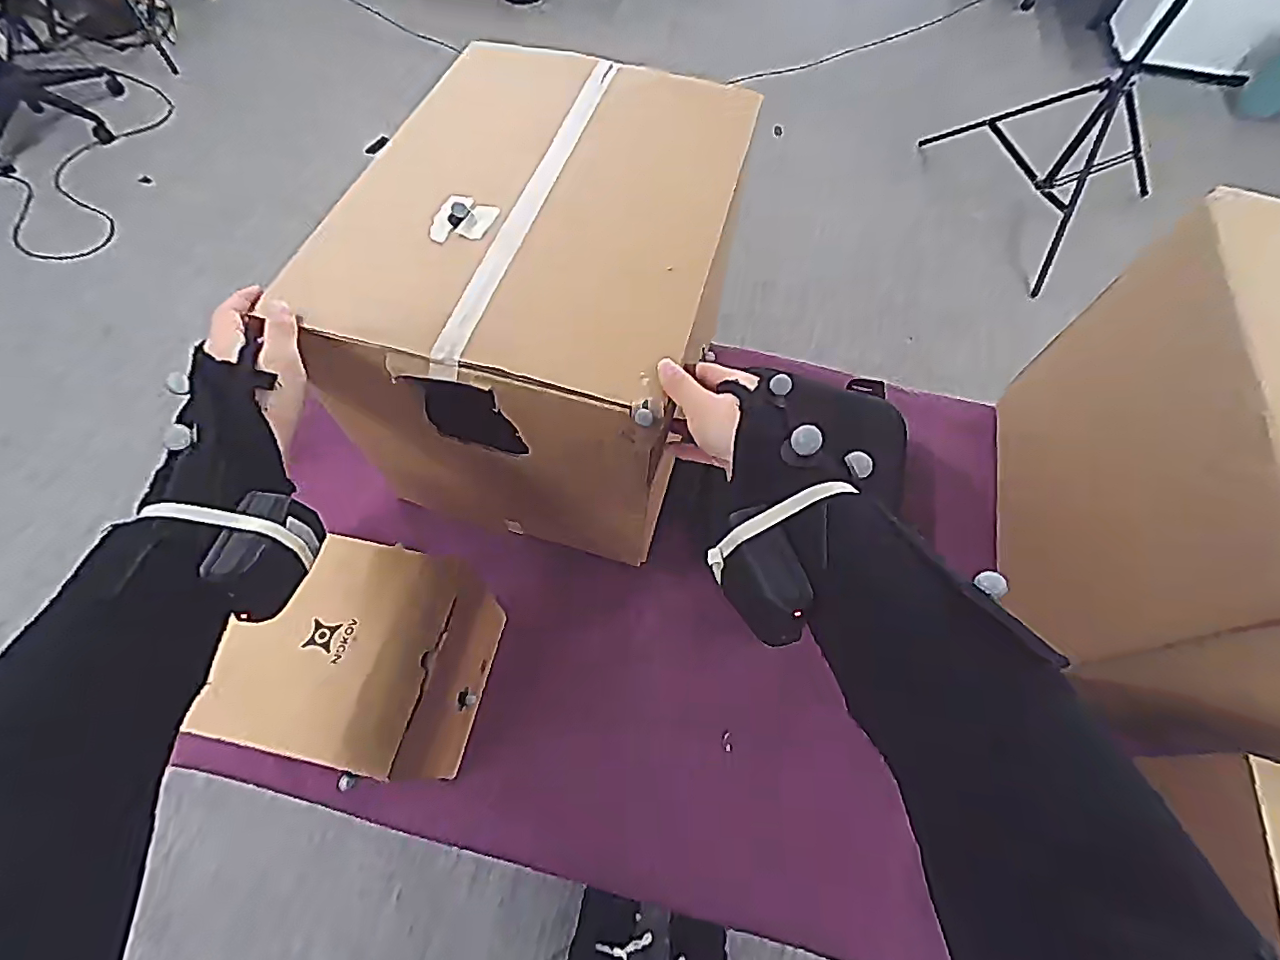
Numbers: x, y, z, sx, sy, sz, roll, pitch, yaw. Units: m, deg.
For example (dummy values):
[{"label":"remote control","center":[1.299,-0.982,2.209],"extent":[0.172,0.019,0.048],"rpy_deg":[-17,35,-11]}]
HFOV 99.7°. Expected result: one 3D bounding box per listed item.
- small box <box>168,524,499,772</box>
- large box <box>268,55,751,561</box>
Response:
[{"label":"small box","center":[-0.248,0.161,0.495],"extent":[0.179,0.176,0.168],"rpy_deg":[10,61,3]},{"label":"large box","center":[-0.087,-0.174,0.603],"extent":[0.320,0.320,0.408],"rpy_deg":[14,64,6]}]
